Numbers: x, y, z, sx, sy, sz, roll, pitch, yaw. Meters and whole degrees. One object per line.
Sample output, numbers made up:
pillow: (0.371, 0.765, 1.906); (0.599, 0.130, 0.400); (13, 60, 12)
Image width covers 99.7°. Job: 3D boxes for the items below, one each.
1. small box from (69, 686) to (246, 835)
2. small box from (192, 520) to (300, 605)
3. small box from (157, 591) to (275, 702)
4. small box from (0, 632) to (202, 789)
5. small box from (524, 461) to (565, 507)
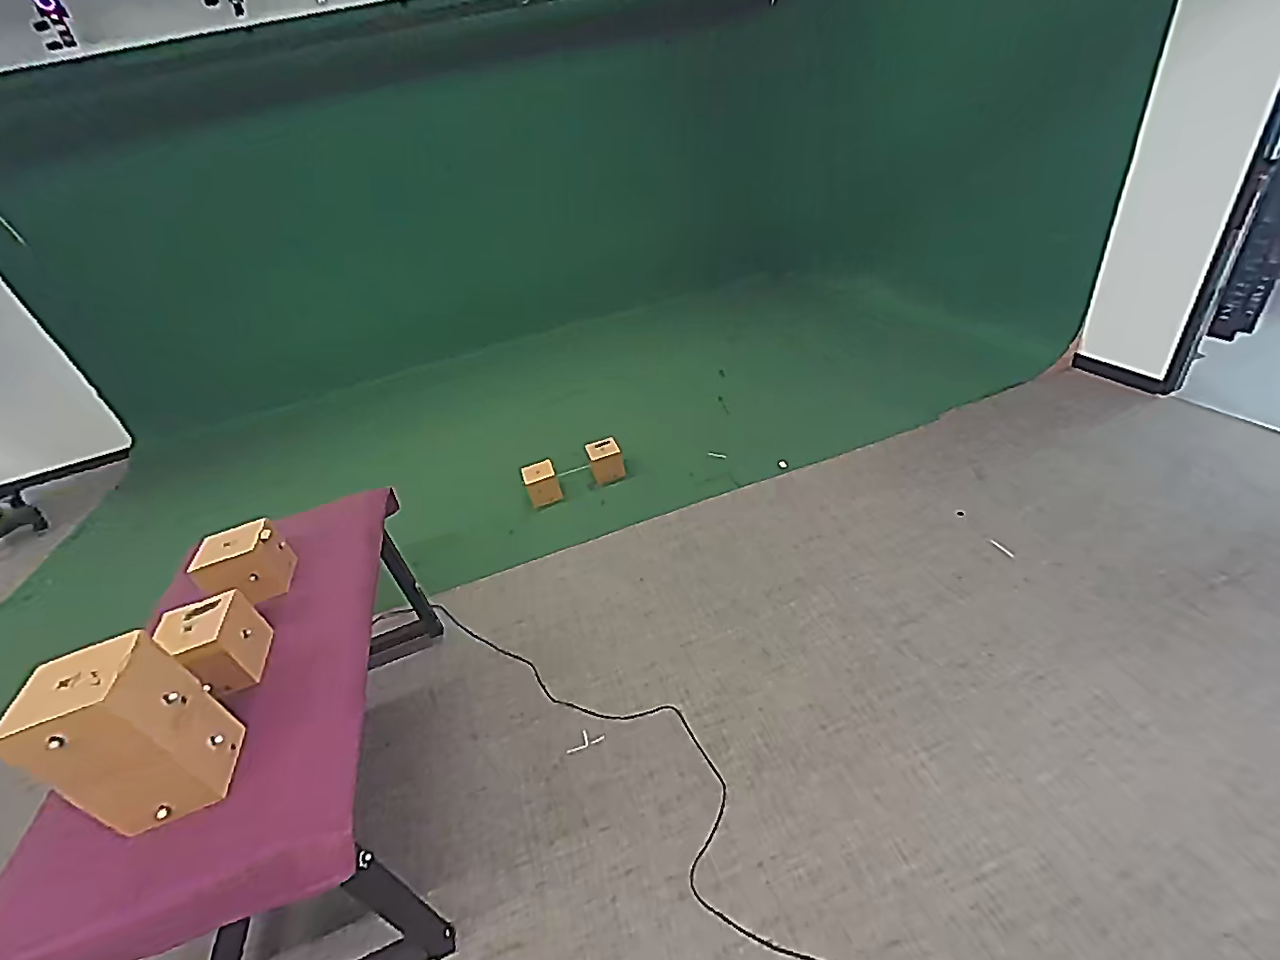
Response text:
small box: (-0.925, 0.549, 1.062); (0.179, 0.176, 0.168); (-19, 34, -11)
small box: (-1.120, 0.248, 1.558); (0.179, 0.176, 0.168); (-20, 35, -9)
small box: (-1.016, 0.405, 1.298); (0.168, 0.176, 0.179); (-20, 36, -10)
small box: (-0.954, 0.414, 0.971); (0.179, 0.176, 0.168); (-19, 35, -11)
small box: (-0.519, 0.029, 2.956); (0.168, 0.176, 0.179); (-20, 34, -9)
